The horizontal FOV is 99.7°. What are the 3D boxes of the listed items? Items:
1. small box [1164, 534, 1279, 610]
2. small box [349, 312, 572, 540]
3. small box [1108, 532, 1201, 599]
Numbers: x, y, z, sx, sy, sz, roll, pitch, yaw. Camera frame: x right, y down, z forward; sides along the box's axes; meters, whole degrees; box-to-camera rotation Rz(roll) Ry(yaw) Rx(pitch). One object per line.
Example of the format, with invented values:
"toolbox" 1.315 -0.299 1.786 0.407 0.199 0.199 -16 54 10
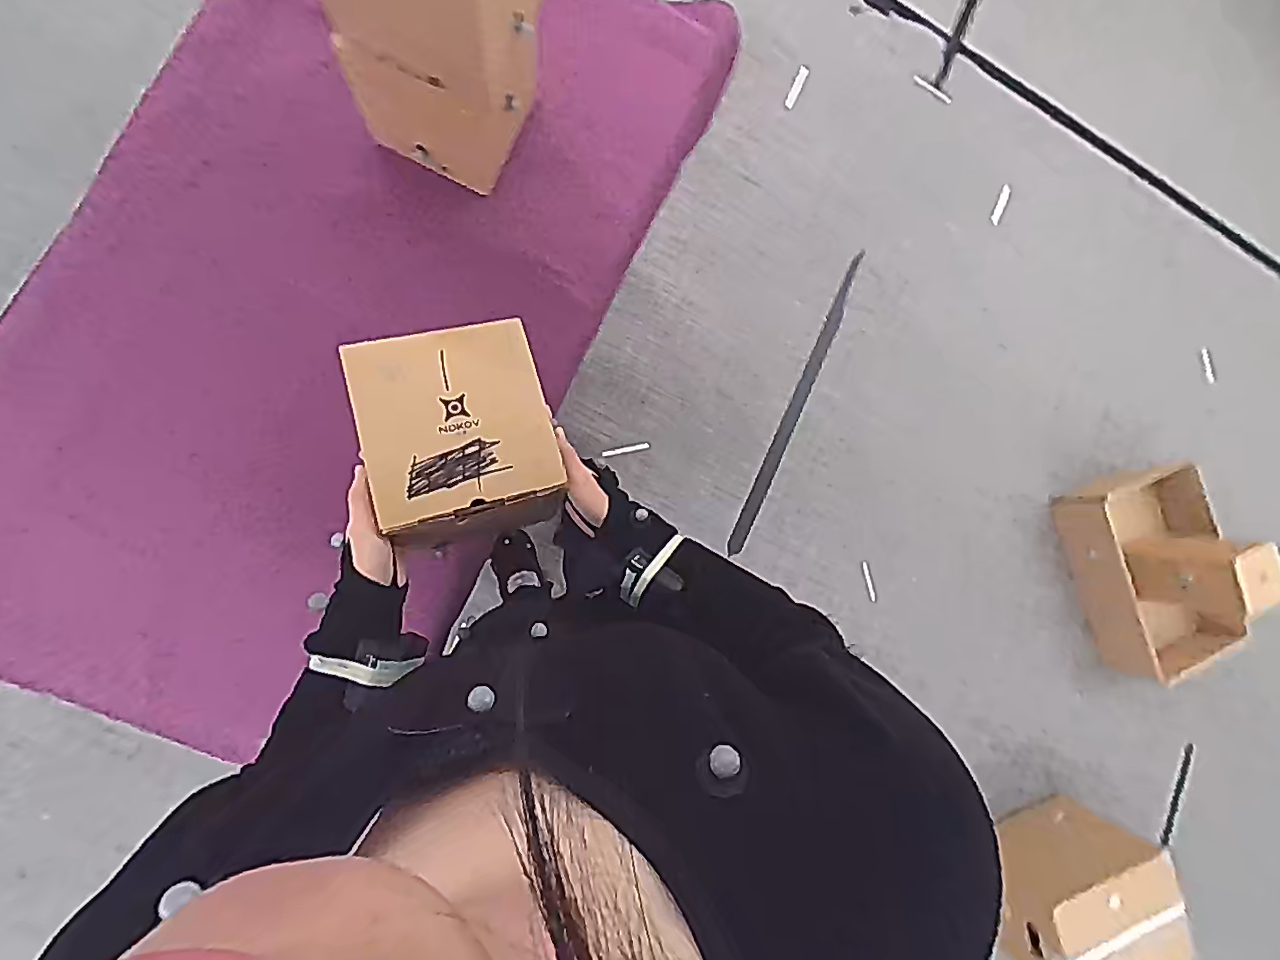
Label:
"small box" 1.708 0.261 1.584 0.179 0.176 0.168 -18 90 -12
"small box" -0.175 -0.043 0.558 0.168 0.176 0.179 -14 79 -16
"small box" 1.673 0.269 1.742 0.179 0.176 0.168 -16 90 -12
